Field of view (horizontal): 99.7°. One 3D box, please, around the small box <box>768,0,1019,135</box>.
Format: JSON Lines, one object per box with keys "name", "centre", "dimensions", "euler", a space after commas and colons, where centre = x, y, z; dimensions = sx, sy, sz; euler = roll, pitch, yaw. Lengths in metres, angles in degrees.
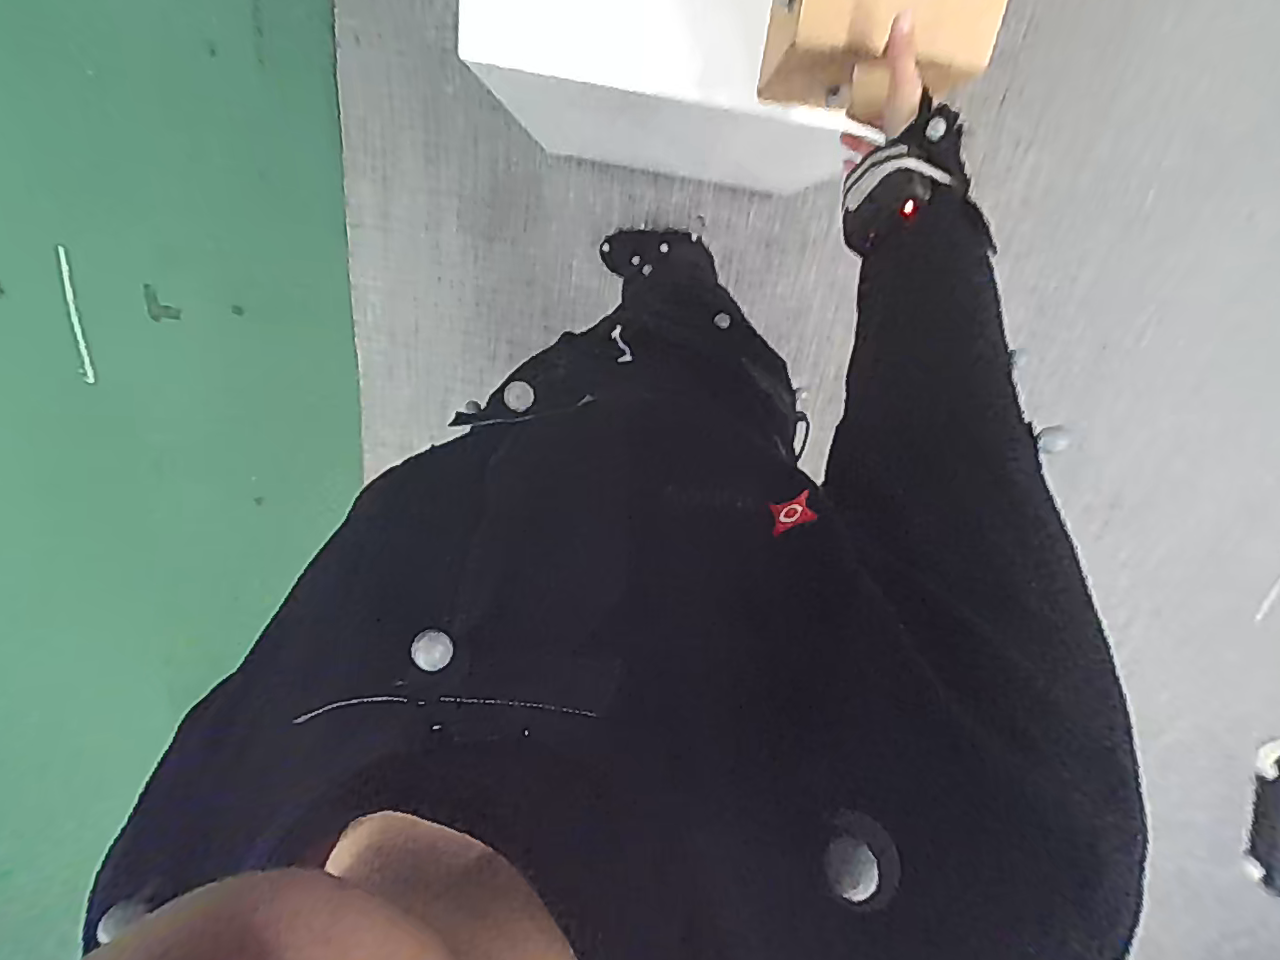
{"name": "small box", "centre": [0.227, -0.447, 0.496], "dimensions": [0.168, 0.176, 0.179], "euler": [7, 111, -2]}
